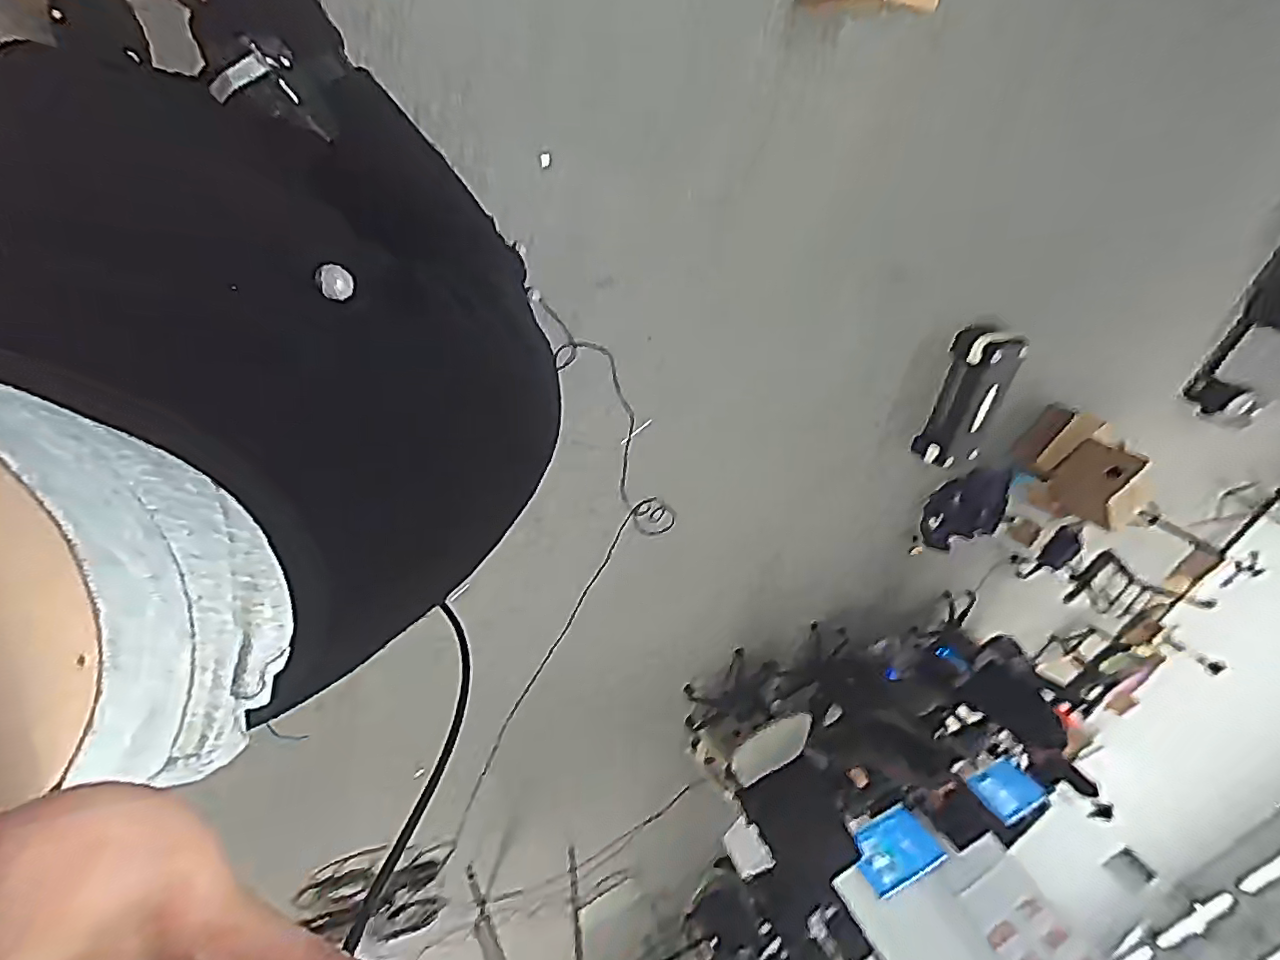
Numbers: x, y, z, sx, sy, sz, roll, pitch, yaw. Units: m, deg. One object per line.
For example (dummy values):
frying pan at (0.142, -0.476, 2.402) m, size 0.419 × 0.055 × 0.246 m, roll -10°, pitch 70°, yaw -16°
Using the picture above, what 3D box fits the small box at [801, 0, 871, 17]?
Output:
small box at (0.539, -1.291, 1.366) m, size 0.179 × 0.176 × 0.168 m, roll -14°, pitch 129°, yaw -24°

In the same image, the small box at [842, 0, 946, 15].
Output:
small box at (0.607, -1.197, 1.249) m, size 0.179 × 0.176 × 0.168 m, roll -11°, pitch 128°, yaw -23°
